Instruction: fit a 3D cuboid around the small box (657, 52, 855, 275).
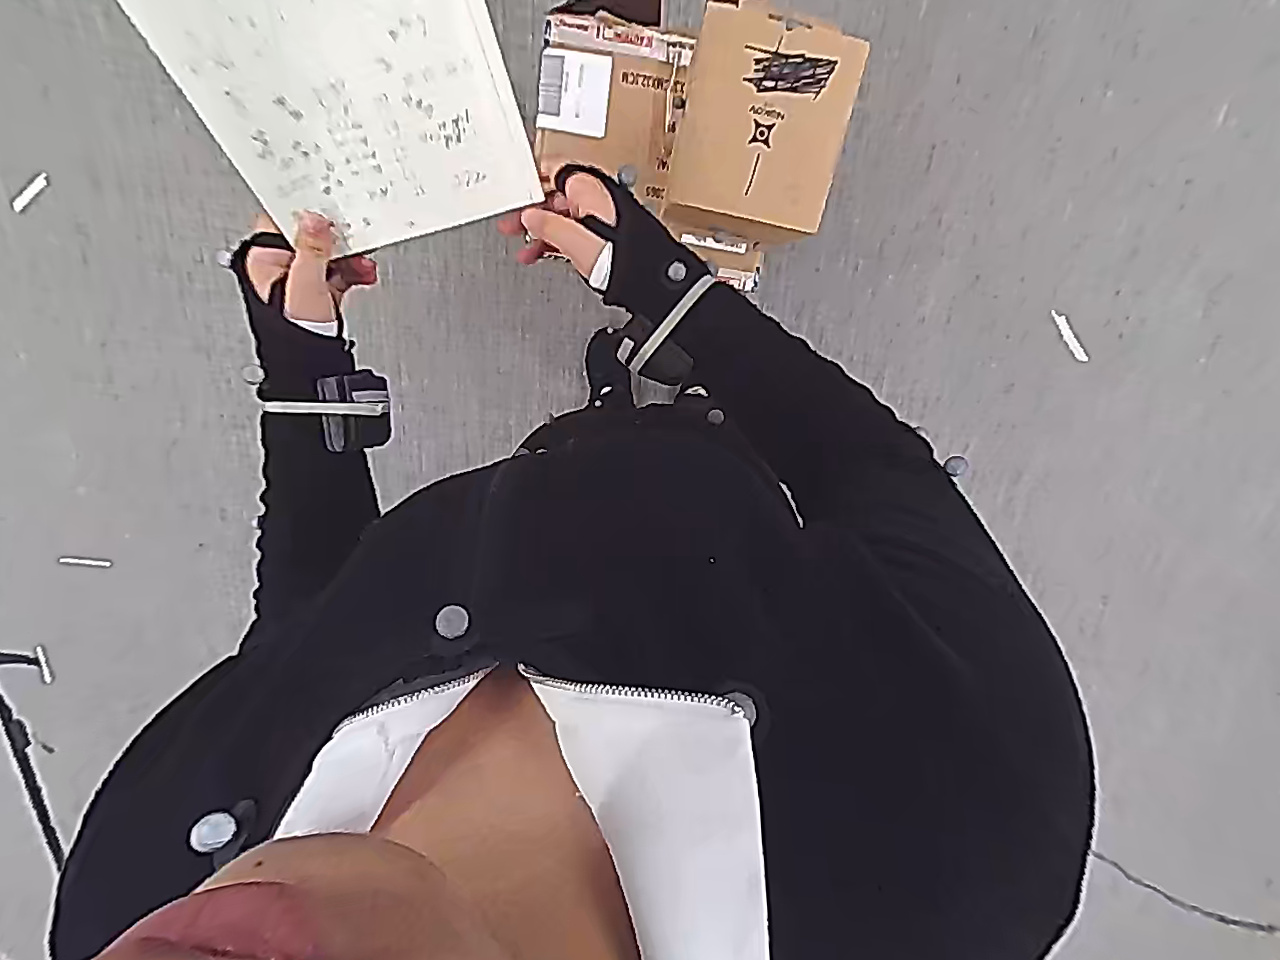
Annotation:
[{"bbox_3d":[0.118,-0.350,0.637,0.168,0.176,0.179,11,110,-5],"label":"small box"}]
